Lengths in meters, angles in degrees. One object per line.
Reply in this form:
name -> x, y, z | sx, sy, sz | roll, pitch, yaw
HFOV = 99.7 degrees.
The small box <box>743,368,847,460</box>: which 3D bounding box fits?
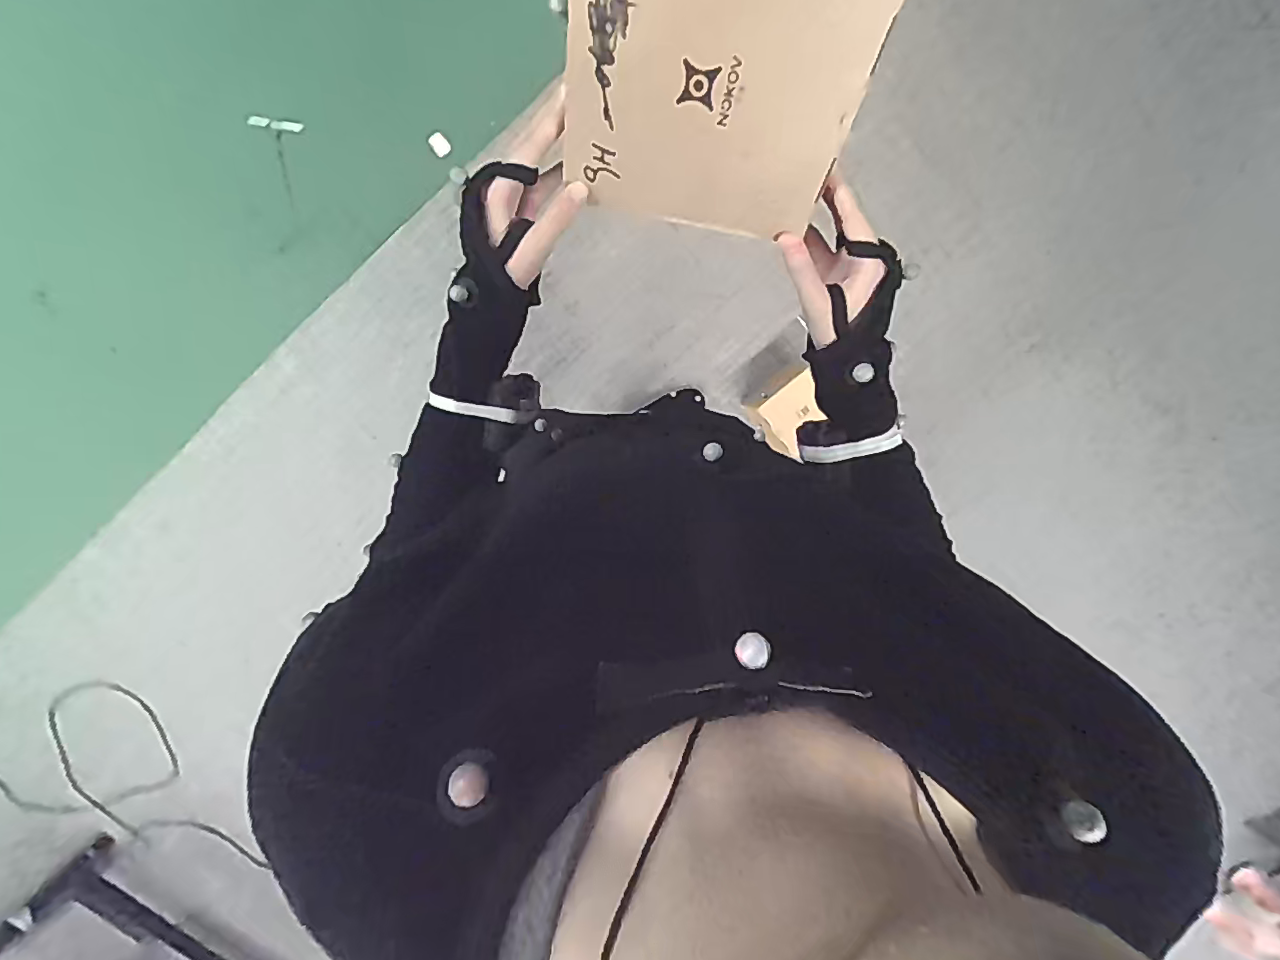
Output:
small box -> 0.397, -0.181, 1.418 | 0.179, 0.176, 0.168 | -39, 102, 6
